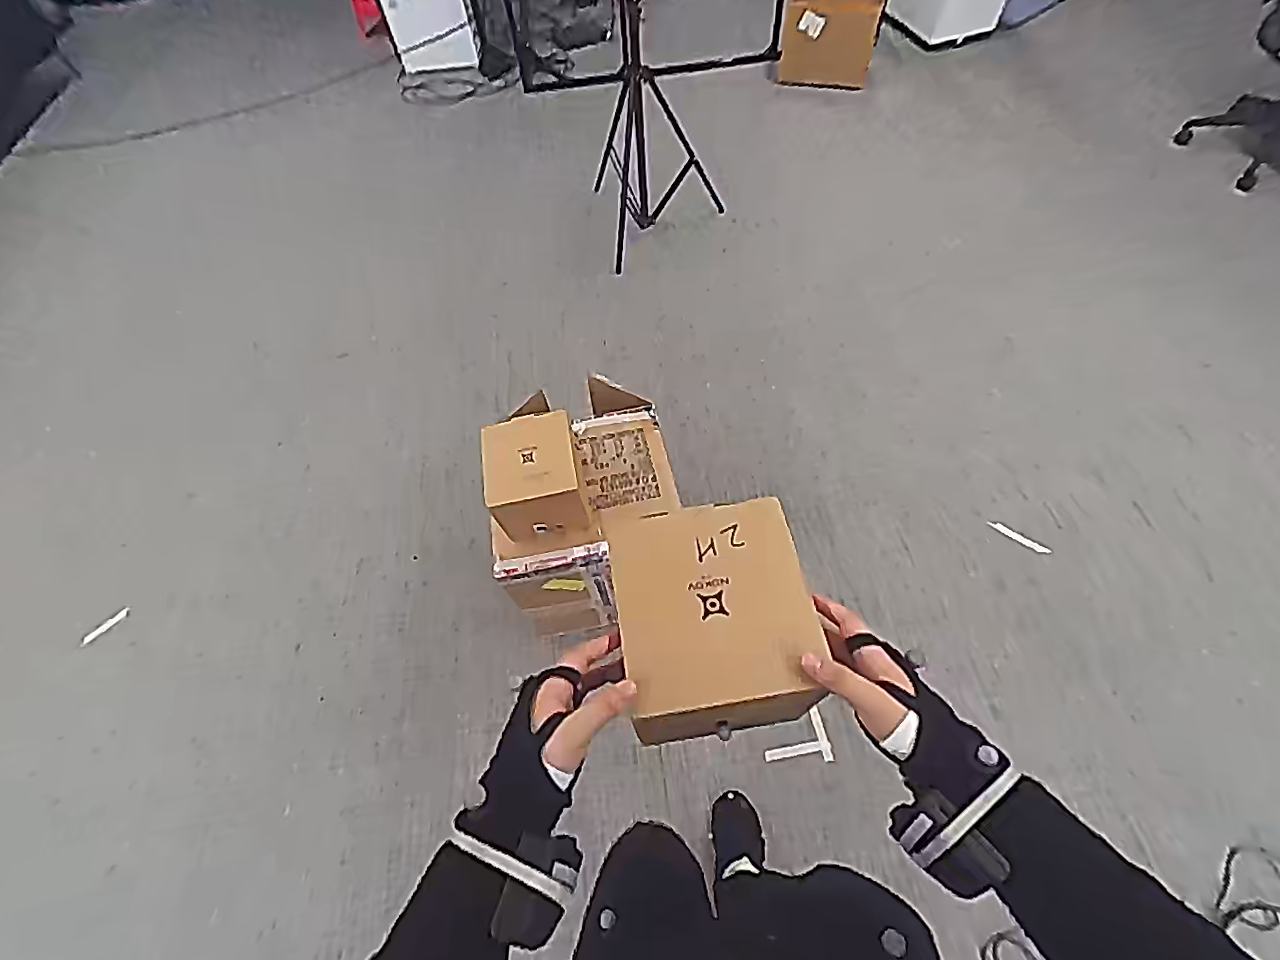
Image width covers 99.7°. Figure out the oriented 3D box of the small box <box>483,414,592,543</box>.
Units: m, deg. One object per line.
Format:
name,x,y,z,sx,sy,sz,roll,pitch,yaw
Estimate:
small box,-0.195,0.002,1.047,0.168,0.176,0.179,-12,63,-2
